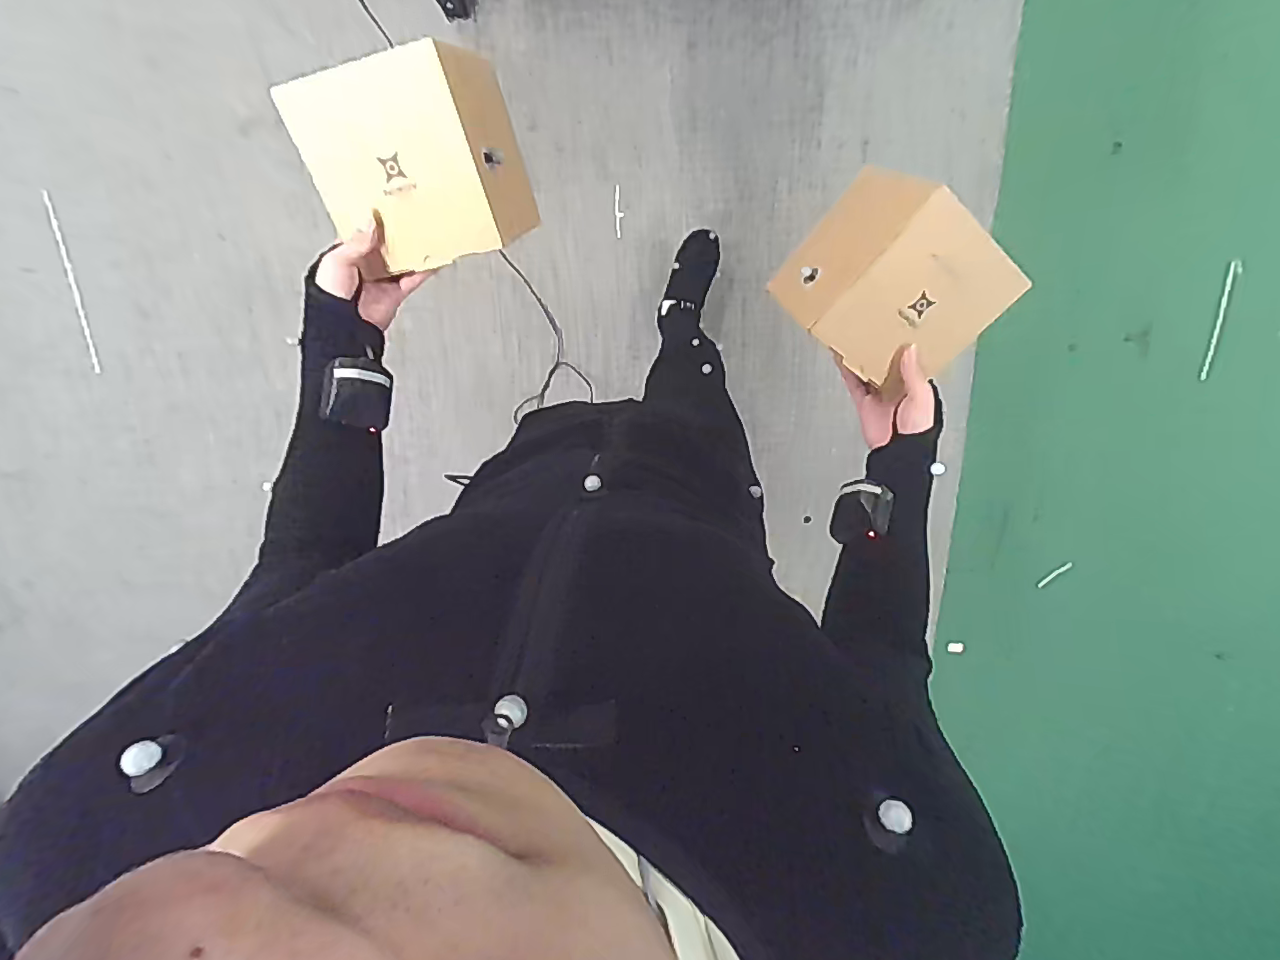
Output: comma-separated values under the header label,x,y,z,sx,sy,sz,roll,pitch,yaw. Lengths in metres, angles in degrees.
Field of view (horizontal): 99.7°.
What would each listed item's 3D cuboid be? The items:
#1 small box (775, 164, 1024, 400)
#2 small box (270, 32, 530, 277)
label,x,y,z,sx,sy,sz,roll,pitch,yaw
small box,0.279,-0.232,0.630,0.168,0.176,0.179,29,117,-24
small box,-0.235,-0.342,0.584,0.168,0.176,0.179,-9,122,9
